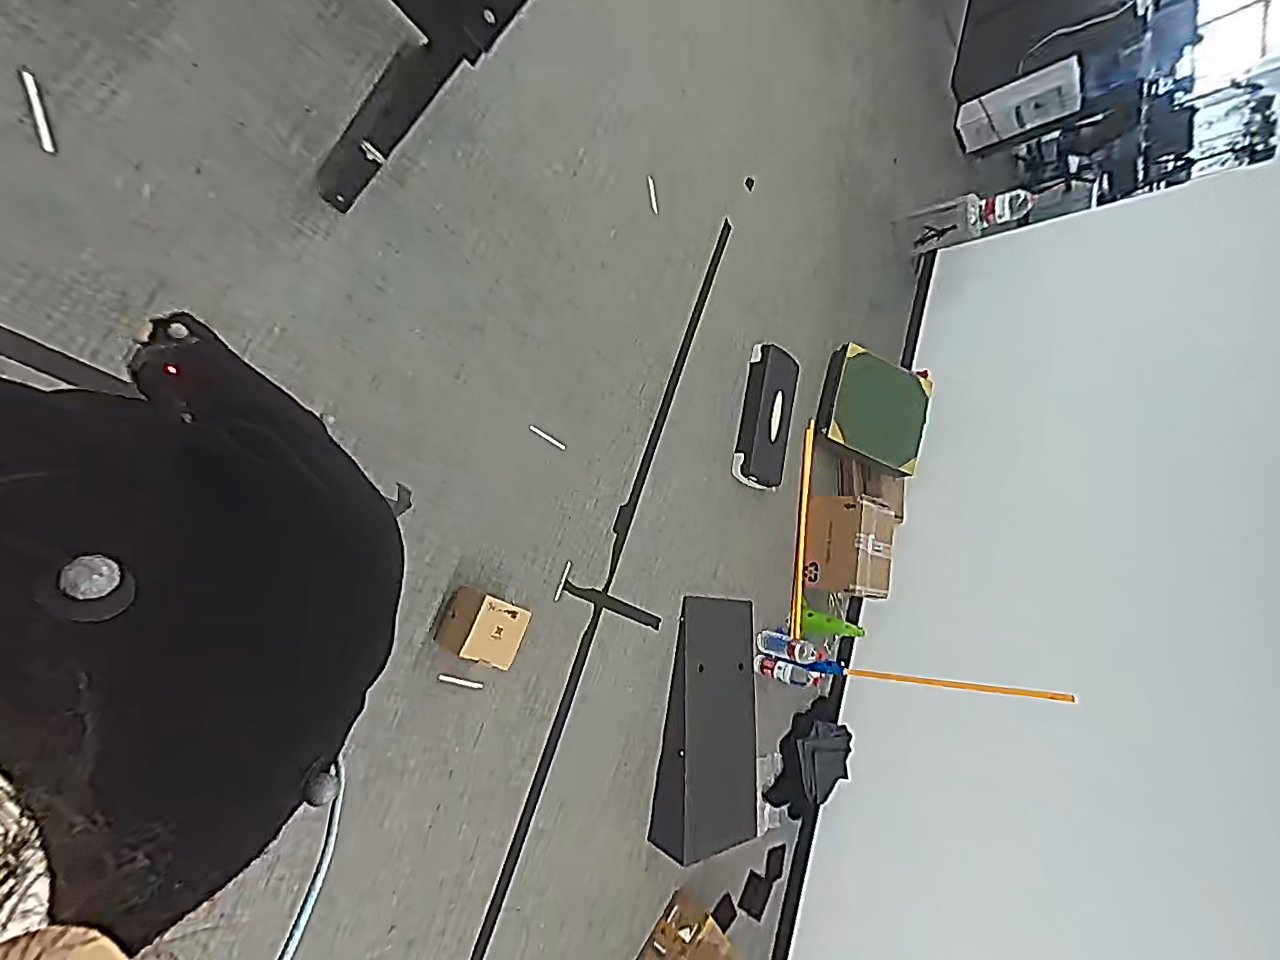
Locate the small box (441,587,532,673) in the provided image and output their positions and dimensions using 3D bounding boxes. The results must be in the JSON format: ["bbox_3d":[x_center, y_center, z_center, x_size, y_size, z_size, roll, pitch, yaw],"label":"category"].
[{"bbox_3d":[-0.451,0.431,1.567,0.168,0.176,0.179,36,68,-38],"label":"small box"}]
